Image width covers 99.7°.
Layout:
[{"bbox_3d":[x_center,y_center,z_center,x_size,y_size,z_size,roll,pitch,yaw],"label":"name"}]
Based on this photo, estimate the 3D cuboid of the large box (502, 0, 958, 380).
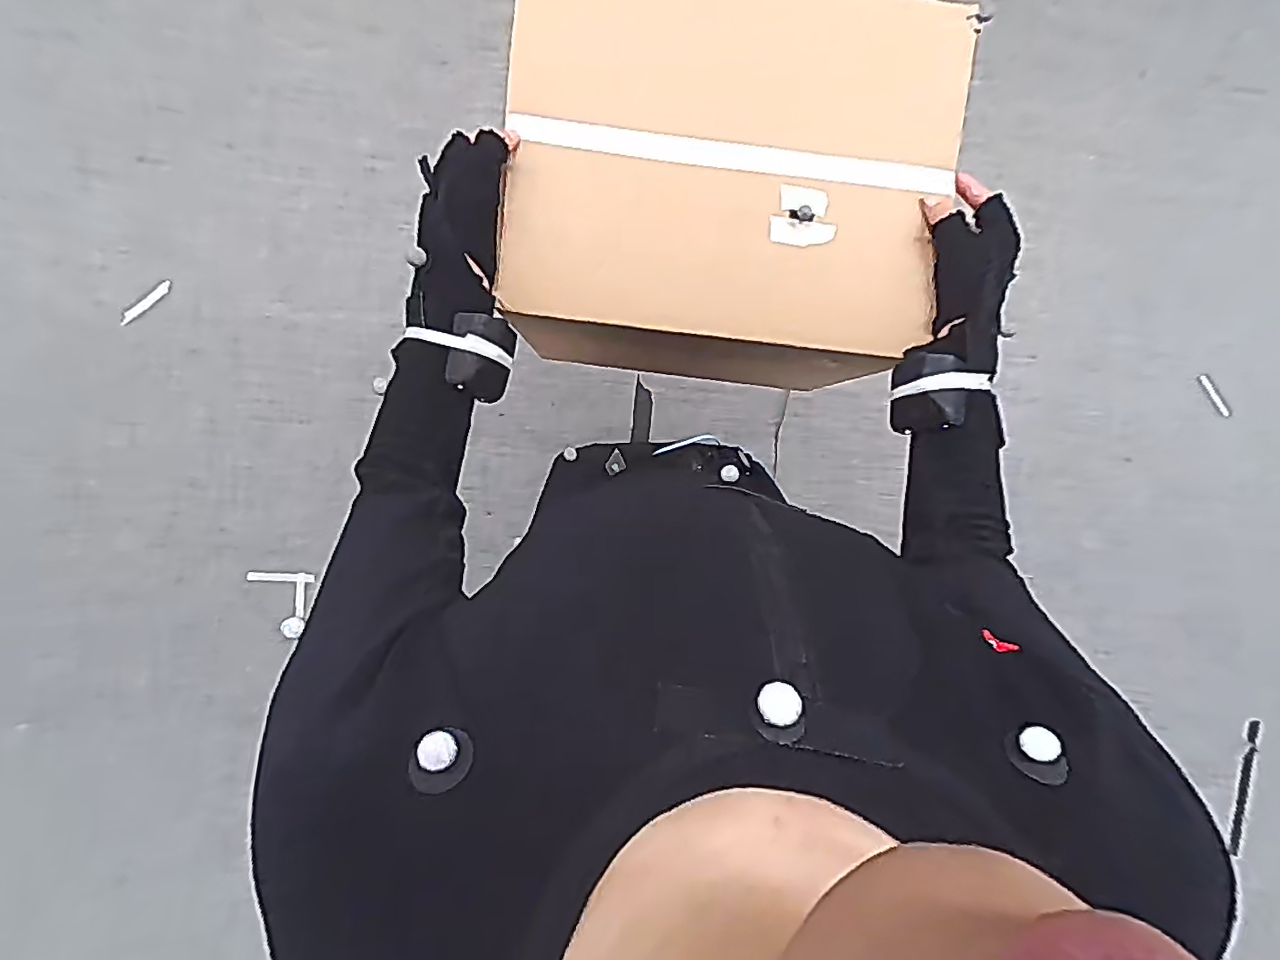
[{"bbox_3d":[0.074,-0.306,0.645,0.408,0.320,0.320,6,95,-3],"label":"large box"}]
